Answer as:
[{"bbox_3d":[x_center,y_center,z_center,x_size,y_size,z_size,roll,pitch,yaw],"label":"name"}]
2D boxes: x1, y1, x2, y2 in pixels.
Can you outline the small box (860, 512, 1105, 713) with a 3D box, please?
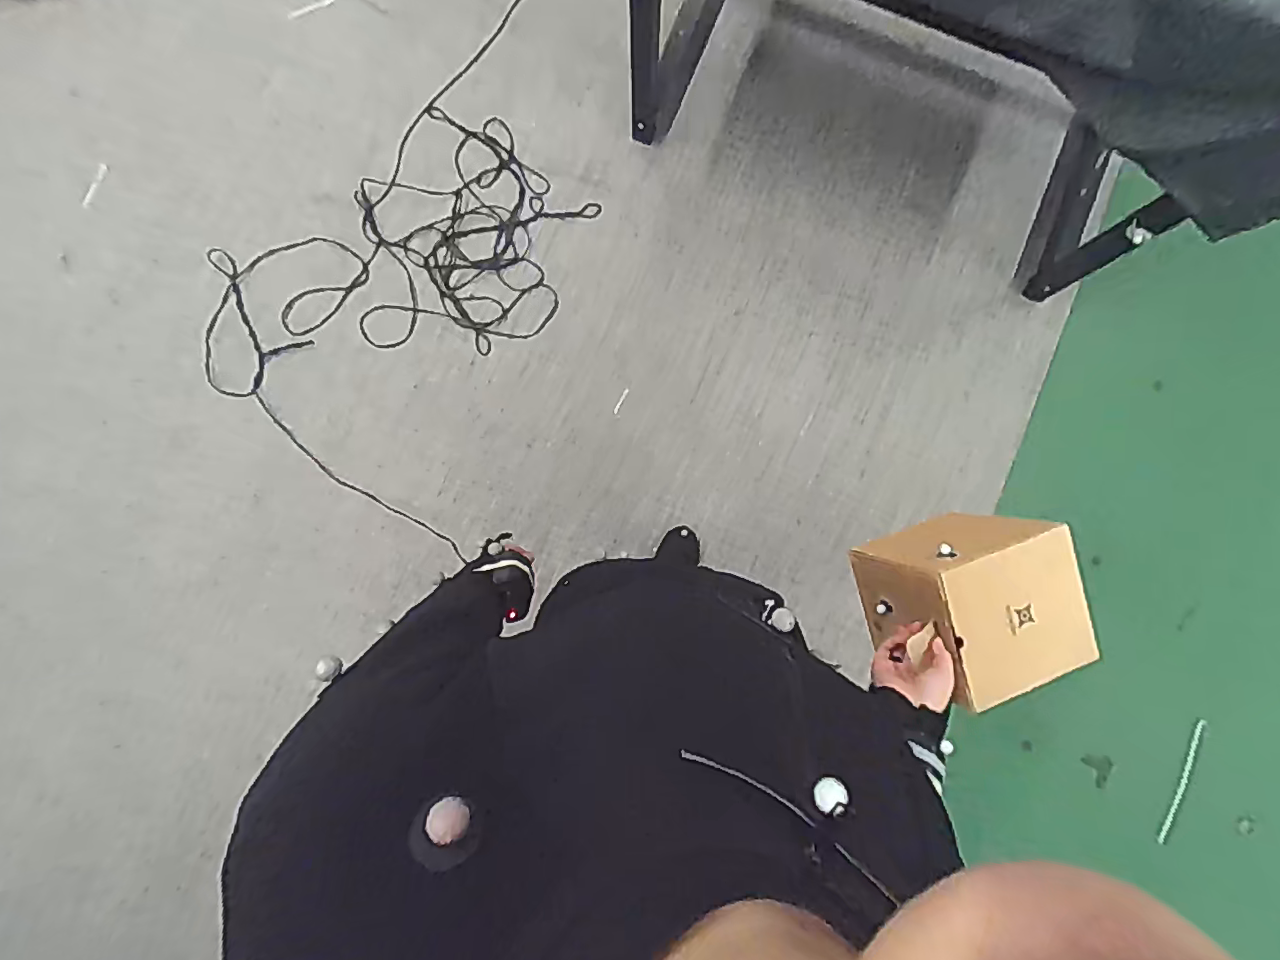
[{"bbox_3d":[0.408,0.146,0.666,0.179,0.176,0.168,-18,96,-10],"label":"small box"}]
